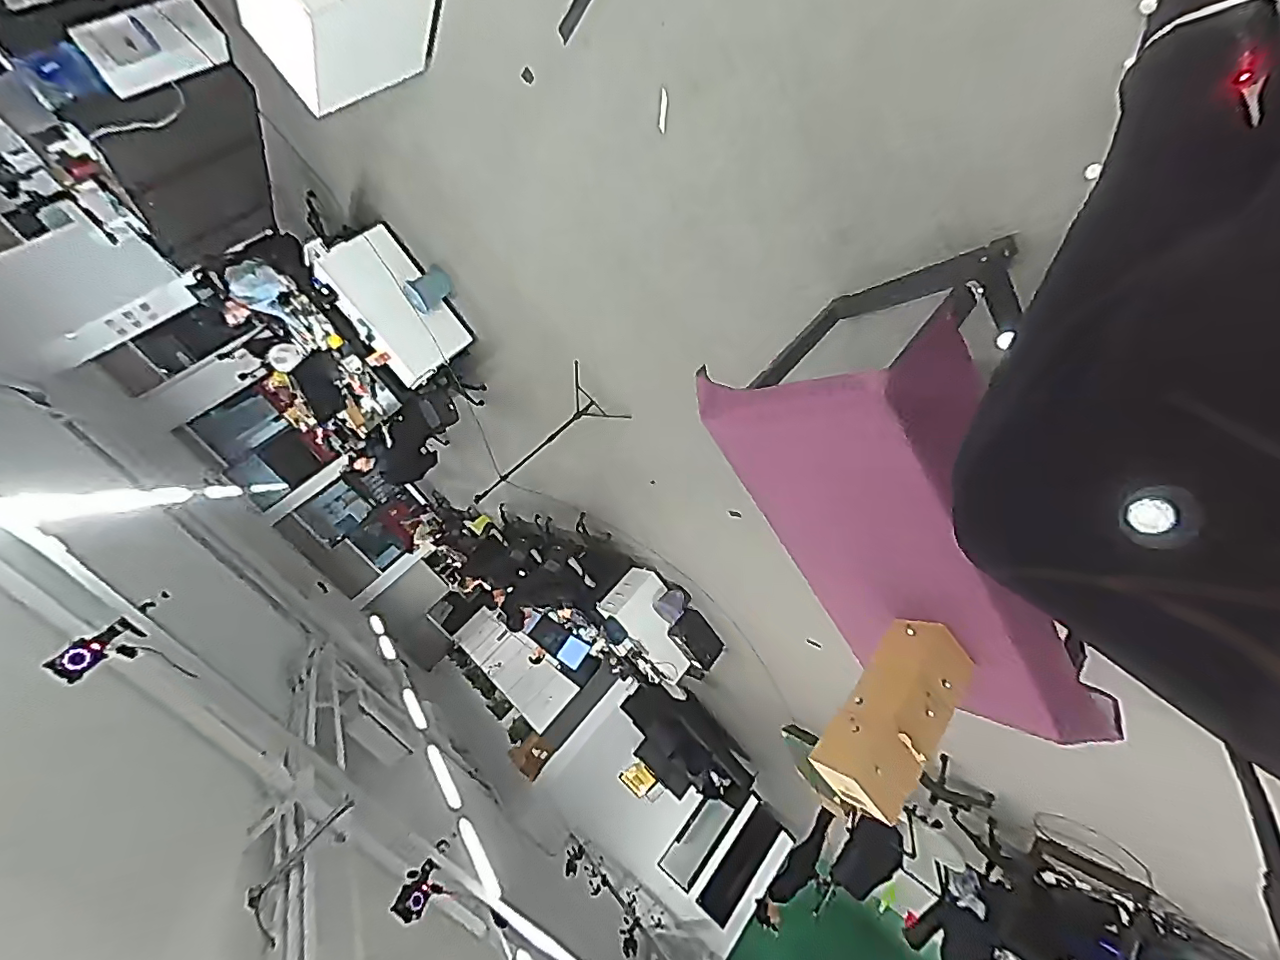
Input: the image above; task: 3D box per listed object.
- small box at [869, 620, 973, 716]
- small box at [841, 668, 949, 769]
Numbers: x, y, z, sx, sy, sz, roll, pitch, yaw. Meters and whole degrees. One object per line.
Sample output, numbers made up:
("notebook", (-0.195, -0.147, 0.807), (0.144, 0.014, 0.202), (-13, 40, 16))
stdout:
("small box", (0.800, 0.524, 1.533), (0.179, 0.176, 0.168), (50, 156, -10))
("small box", (0.696, 0.638, 1.474), (0.168, 0.176, 0.179), (48, 156, -9))
